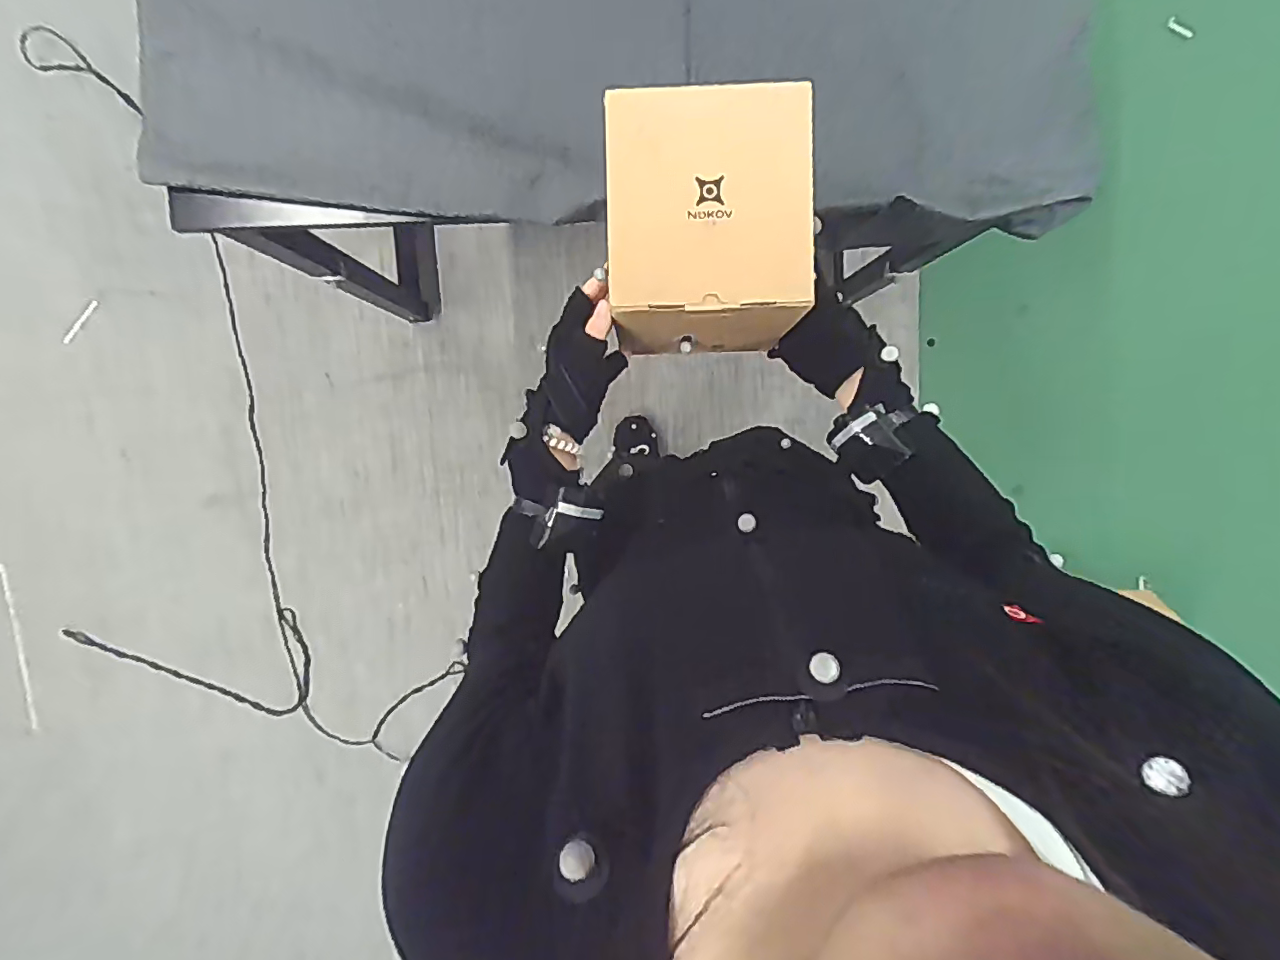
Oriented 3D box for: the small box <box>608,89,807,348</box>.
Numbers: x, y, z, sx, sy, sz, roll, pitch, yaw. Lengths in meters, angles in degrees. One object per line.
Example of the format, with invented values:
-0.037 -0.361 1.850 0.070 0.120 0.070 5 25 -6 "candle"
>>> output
0.056 -0.234 0.523 0.168 0.176 0.179 -1 93 1 "small box"
